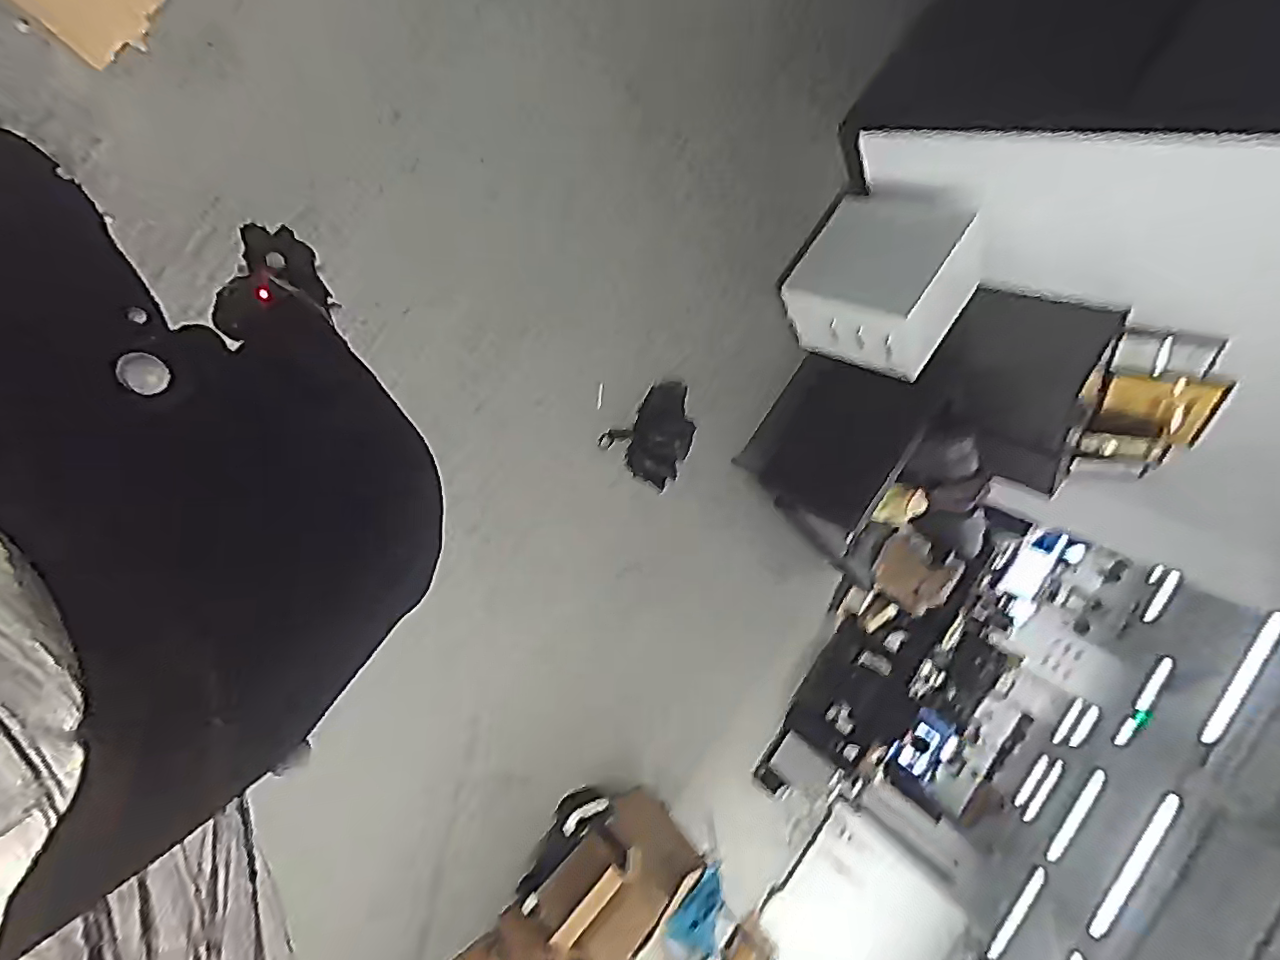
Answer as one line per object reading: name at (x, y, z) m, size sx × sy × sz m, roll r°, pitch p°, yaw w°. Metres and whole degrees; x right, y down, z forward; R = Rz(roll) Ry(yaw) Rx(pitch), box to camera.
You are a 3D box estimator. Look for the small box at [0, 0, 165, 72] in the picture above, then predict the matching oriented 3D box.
small box at (-0.830, -0.726, 0.770) m, size 0.168 × 0.176 × 0.179 m, roll -55°, pitch 142°, yaw -5°
